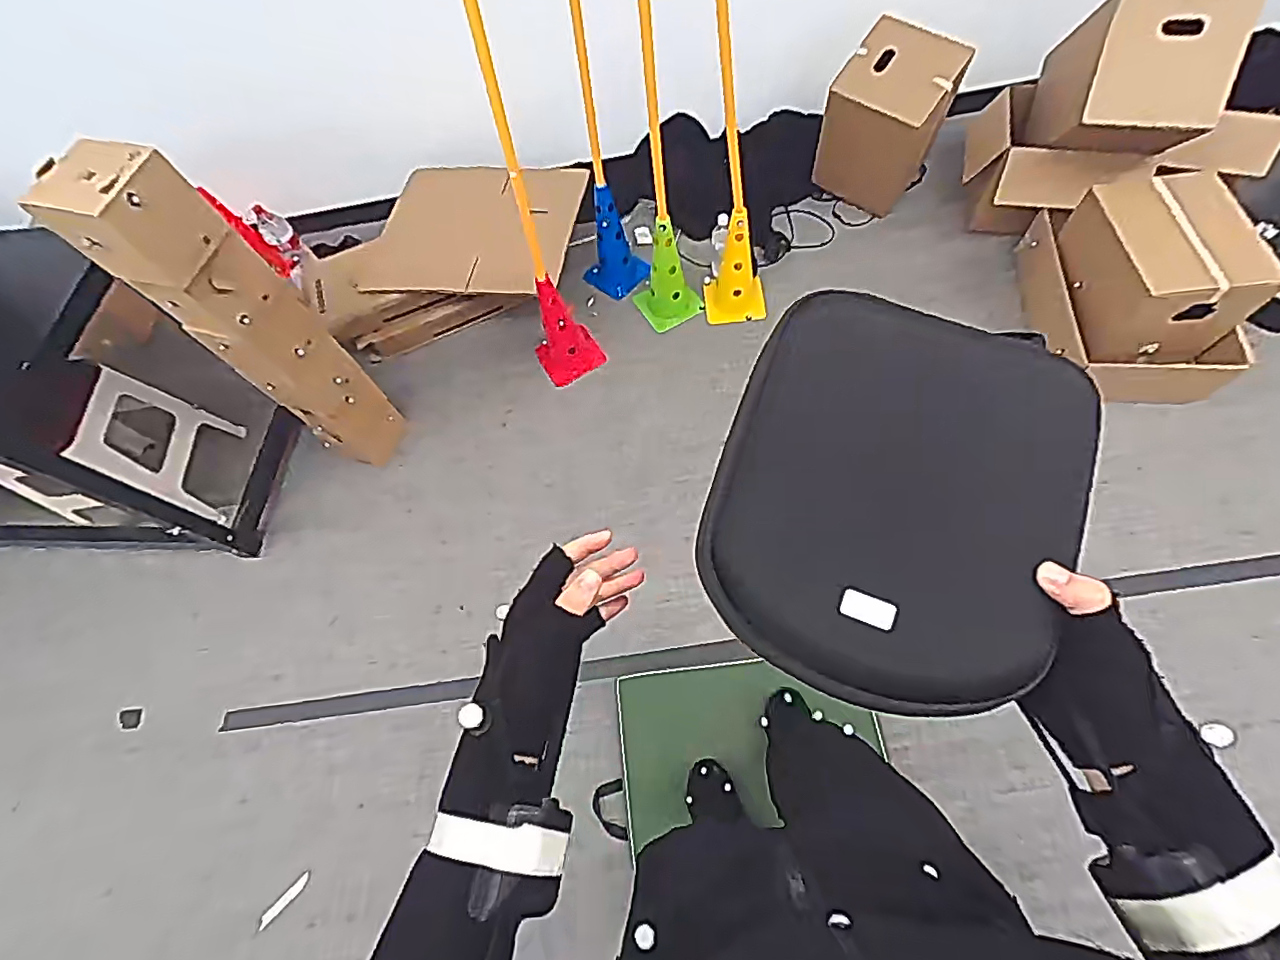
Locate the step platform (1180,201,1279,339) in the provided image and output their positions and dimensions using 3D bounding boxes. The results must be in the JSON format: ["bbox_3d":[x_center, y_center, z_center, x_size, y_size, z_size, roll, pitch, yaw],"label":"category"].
[{"bbox_3d":[2.045,-0.727,1.647,0.684,0.204,0.286,-35,66,-10],"label":"step platform"}]
